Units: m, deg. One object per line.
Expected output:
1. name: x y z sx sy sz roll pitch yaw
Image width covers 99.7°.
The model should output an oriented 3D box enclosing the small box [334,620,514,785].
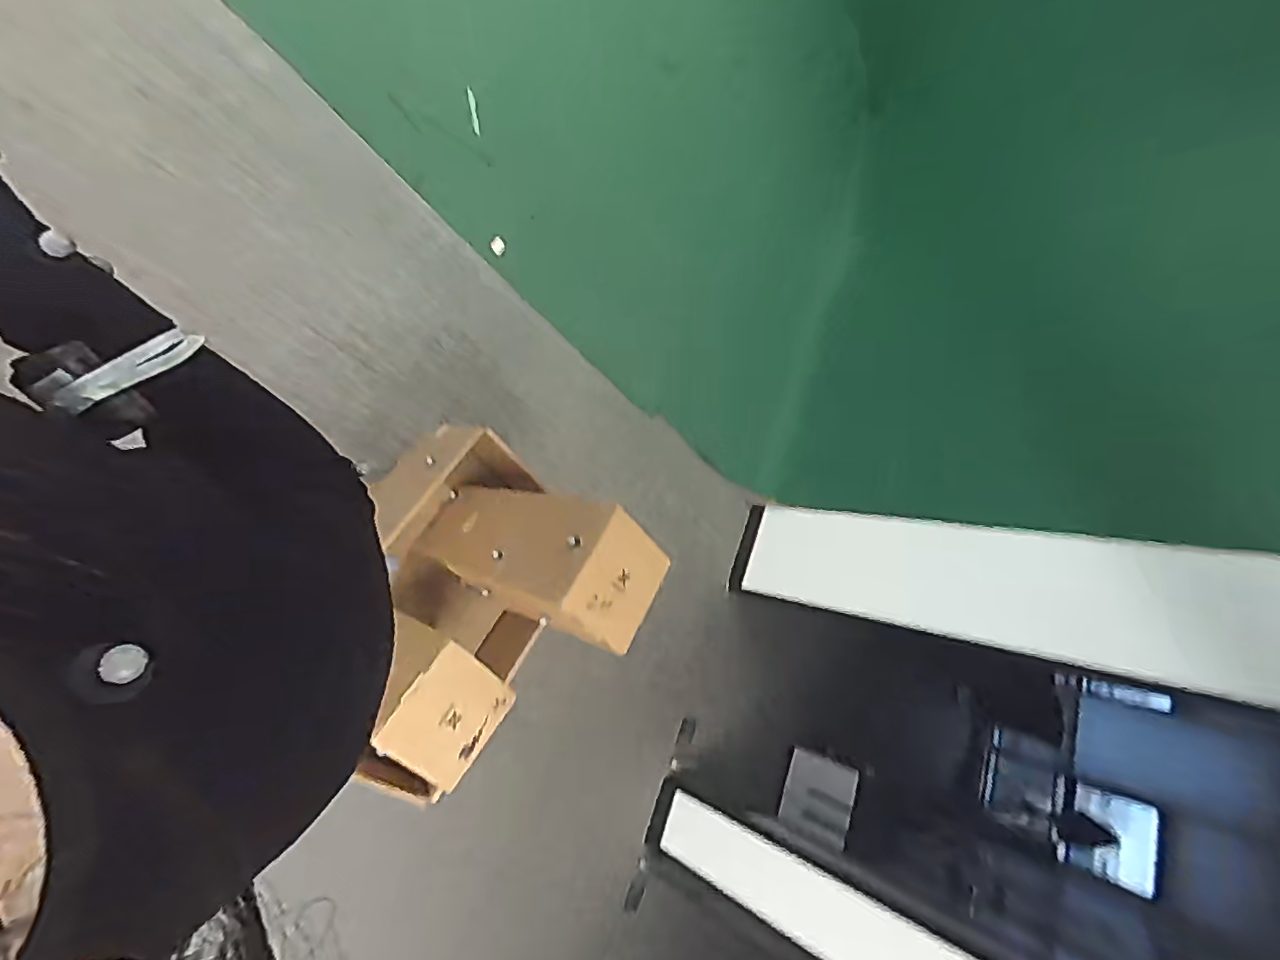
1. small box: -0.348 0.345 0.871 0.168 0.176 0.179 -53 128 -30

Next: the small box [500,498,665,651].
1. small box: -0.095 0.146 0.887 0.168 0.176 0.179 50 60 -37

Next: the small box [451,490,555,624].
1. small box: -0.213 0.134 1.001 0.168 0.176 0.179 51 60 -37
